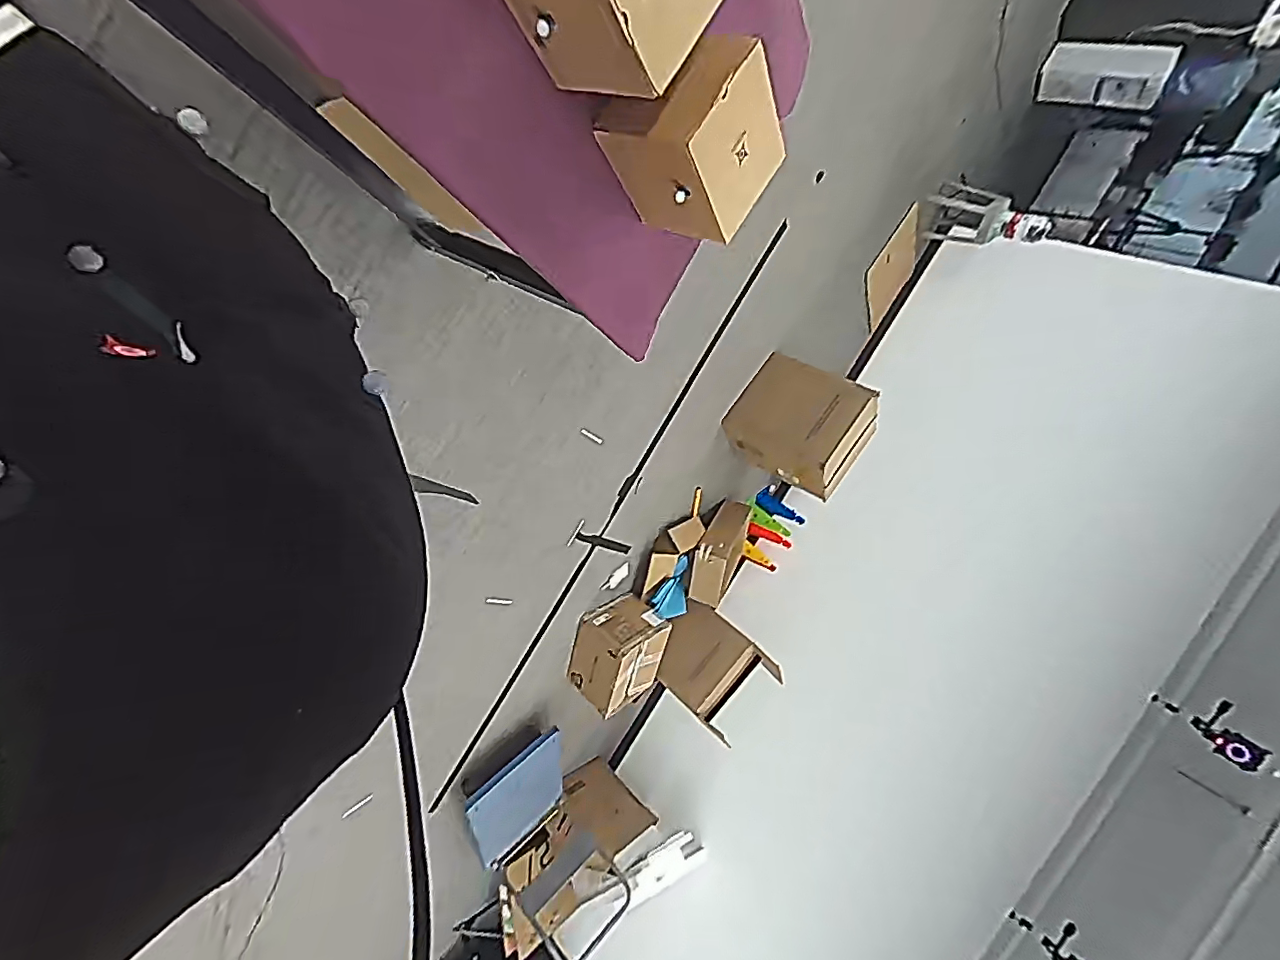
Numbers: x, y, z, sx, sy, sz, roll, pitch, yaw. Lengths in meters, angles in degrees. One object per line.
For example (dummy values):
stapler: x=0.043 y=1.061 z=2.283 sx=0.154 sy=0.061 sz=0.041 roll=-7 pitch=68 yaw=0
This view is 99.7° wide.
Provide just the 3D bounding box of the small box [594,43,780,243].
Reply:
small box: x=0.070 y=-0.476 z=0.764 sx=0.168 sy=0.176 sz=0.179 roll=-57 pitch=149 yaw=-4

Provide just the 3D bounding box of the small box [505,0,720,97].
small box: x=-0.031 y=-0.543 z=0.555 sx=0.179 sy=0.176 sz=0.168 roll=-57 pitch=149 yaw=-1
